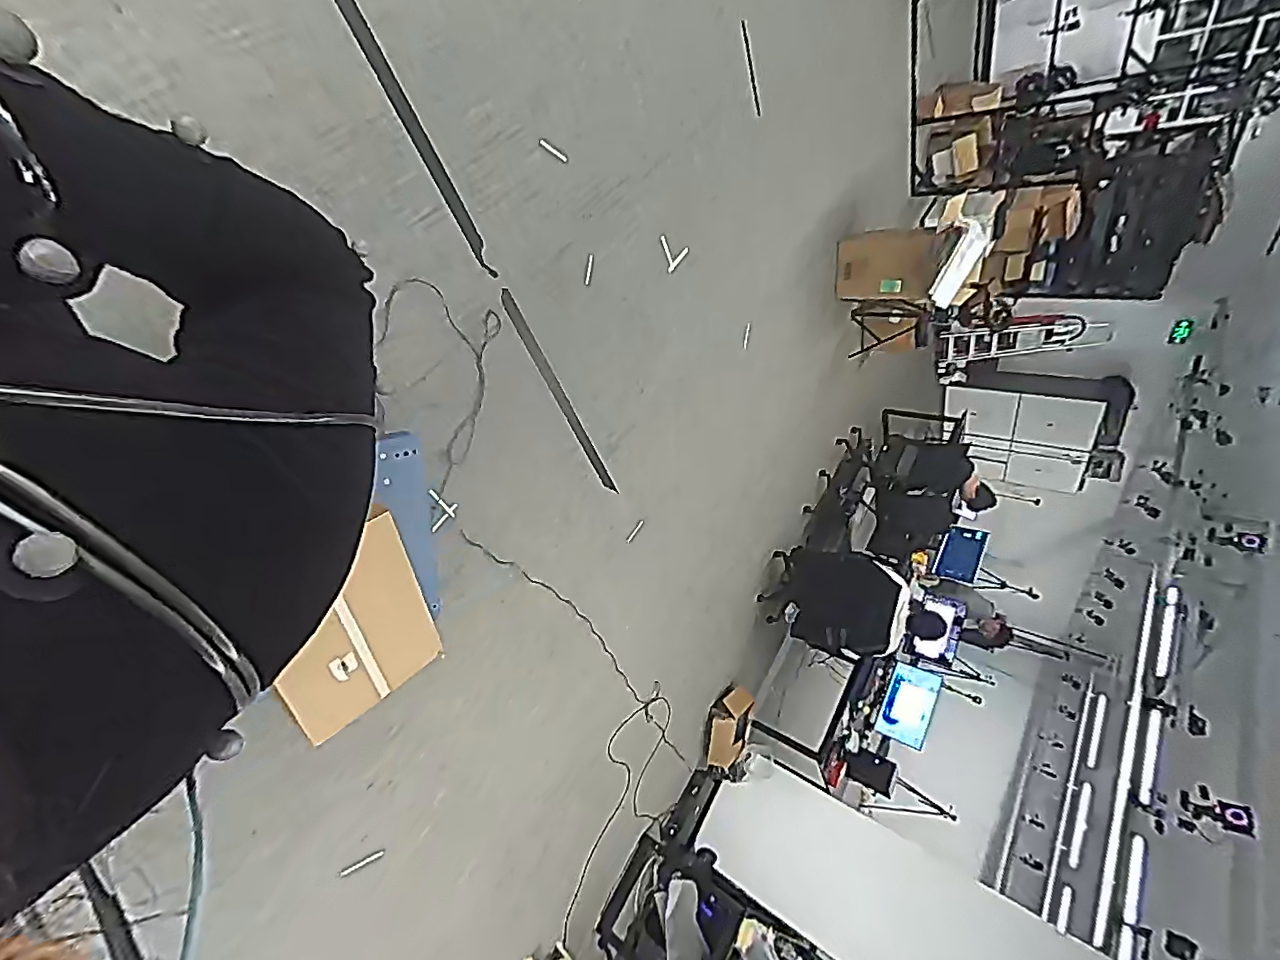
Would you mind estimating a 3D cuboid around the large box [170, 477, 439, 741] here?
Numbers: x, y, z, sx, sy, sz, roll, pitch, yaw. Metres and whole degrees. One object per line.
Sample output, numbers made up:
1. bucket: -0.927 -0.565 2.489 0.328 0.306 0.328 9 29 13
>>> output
1. large box: -0.710 0.259 1.181 0.320 0.320 0.408 -34 129 -40
